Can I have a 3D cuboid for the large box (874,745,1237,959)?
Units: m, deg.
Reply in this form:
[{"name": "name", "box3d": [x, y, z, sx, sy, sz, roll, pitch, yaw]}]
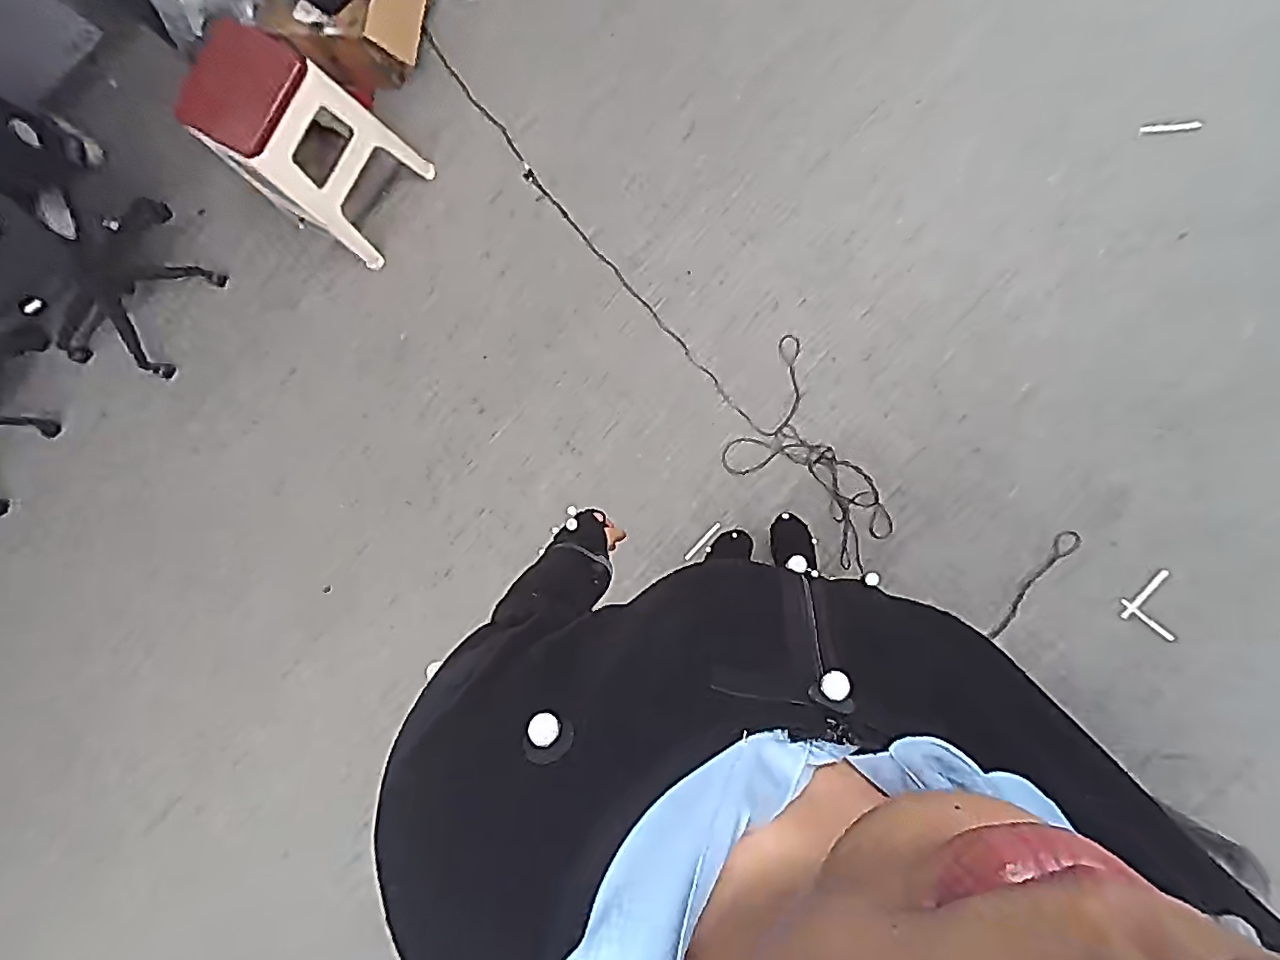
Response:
[{"name": "large box", "box3d": [0.736, 0.816, 1.037, 0.320, 0.320, 0.408, 42, 94, 11]}]
